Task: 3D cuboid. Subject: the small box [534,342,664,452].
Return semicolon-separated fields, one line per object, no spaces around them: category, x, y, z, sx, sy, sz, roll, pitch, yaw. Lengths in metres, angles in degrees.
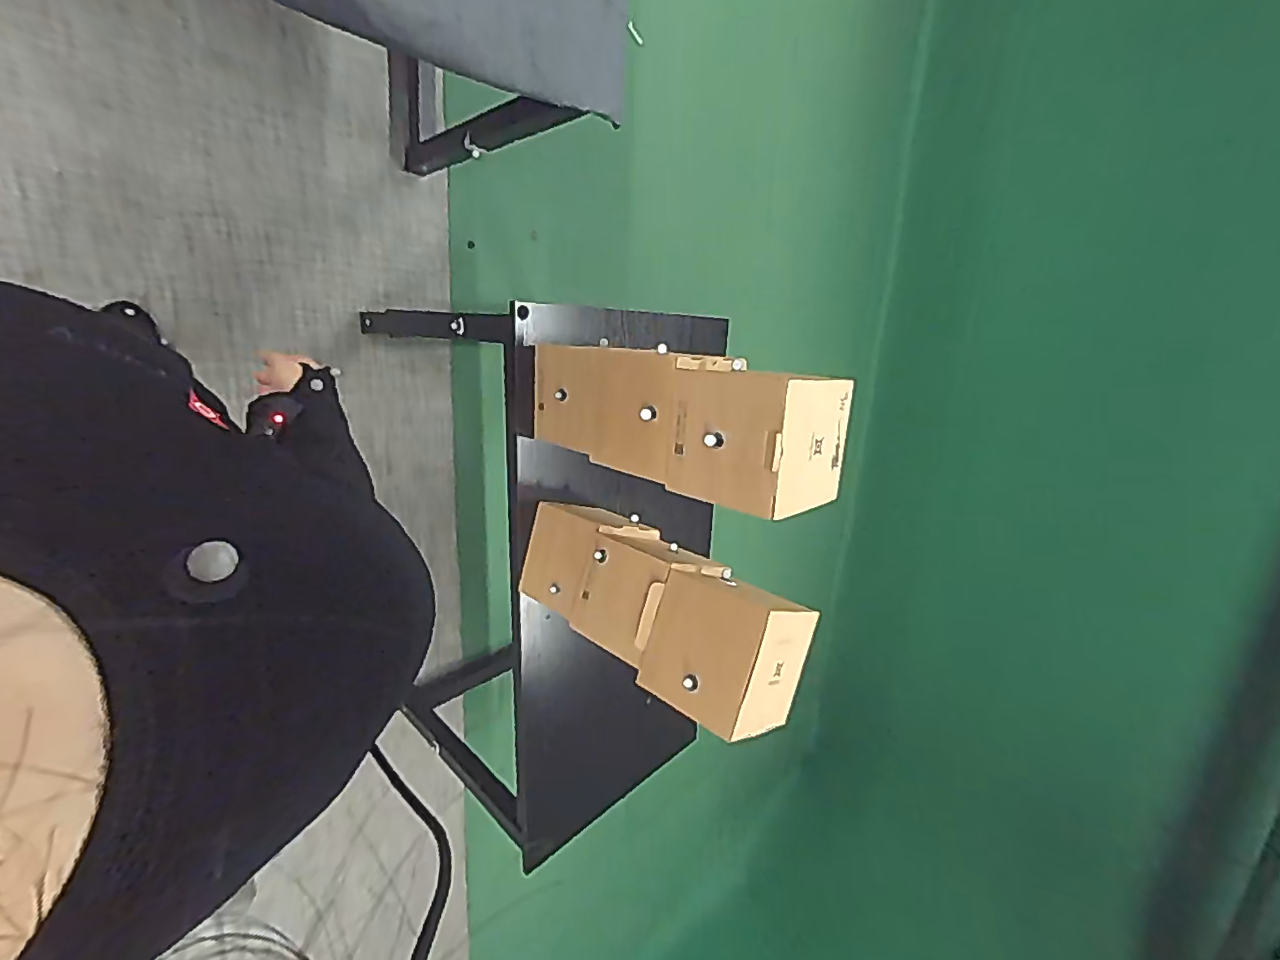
small box;-0.069;-0.148;0.938;0.179;0.176;0.168;-12;112;-45

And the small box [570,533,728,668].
small box;0.012;0.192;0.893;0.179;0.176;0.168;14;93;-49

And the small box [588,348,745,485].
small box;0.036;-0.104;0.821;0.168;0.176;0.179;-12;111;-44

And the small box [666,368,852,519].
small box;0.152;-0.058;0.714;0.179;0.176;0.168;-10;109;-44

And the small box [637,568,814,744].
small box;0.119;0.242;0.780;0.168;0.176;0.179;17;90;-50
